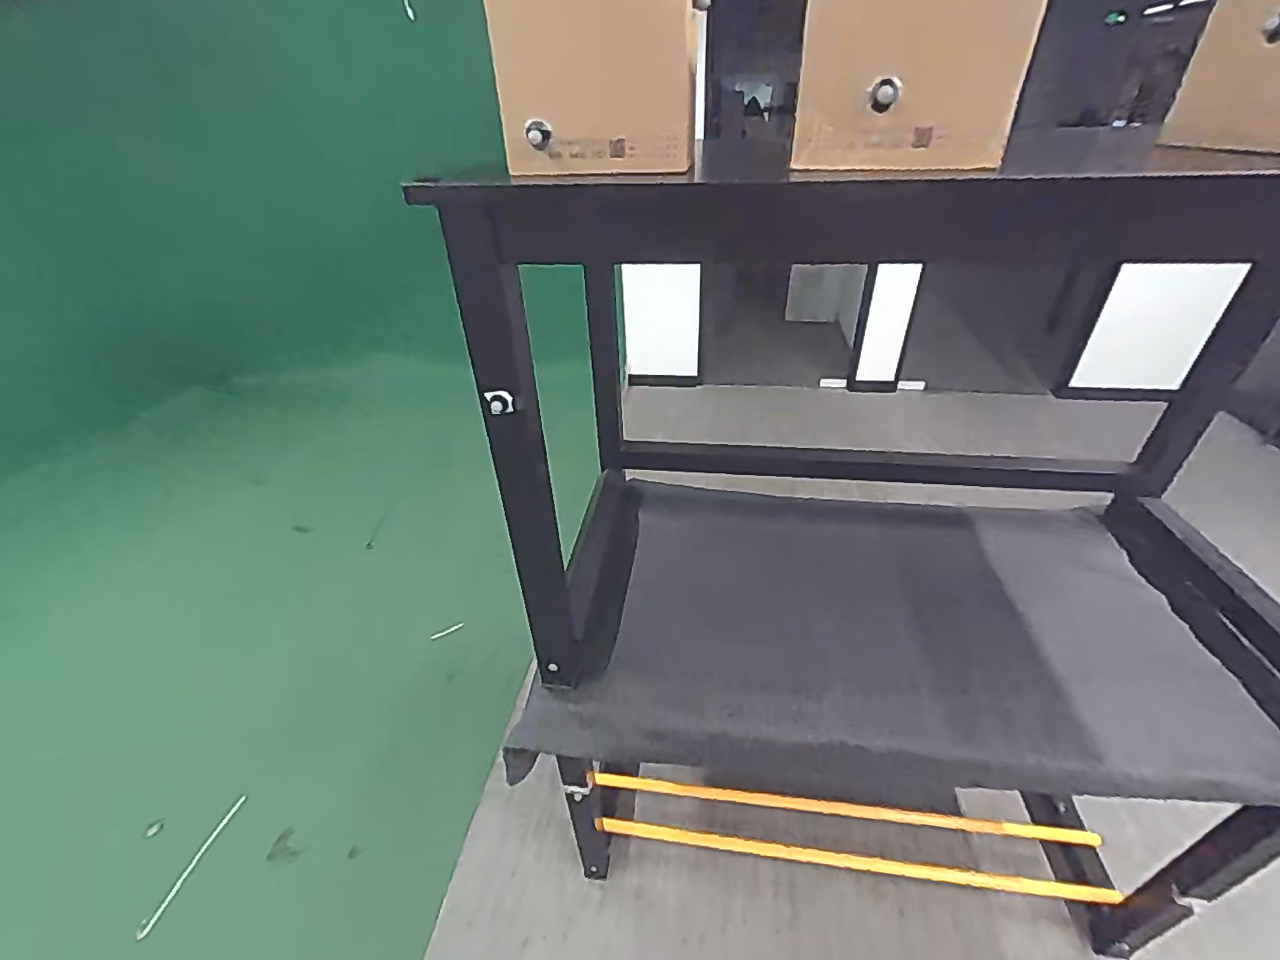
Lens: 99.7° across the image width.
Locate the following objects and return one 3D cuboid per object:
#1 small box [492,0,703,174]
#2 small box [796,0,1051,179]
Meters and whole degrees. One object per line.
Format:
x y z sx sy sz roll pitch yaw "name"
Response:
-0.026 -0.392 0.515 0.168 0.176 0.179 3 34 7 "small box"
0.237 -0.375 0.482 0.168 0.176 0.179 8 36 14 "small box"
